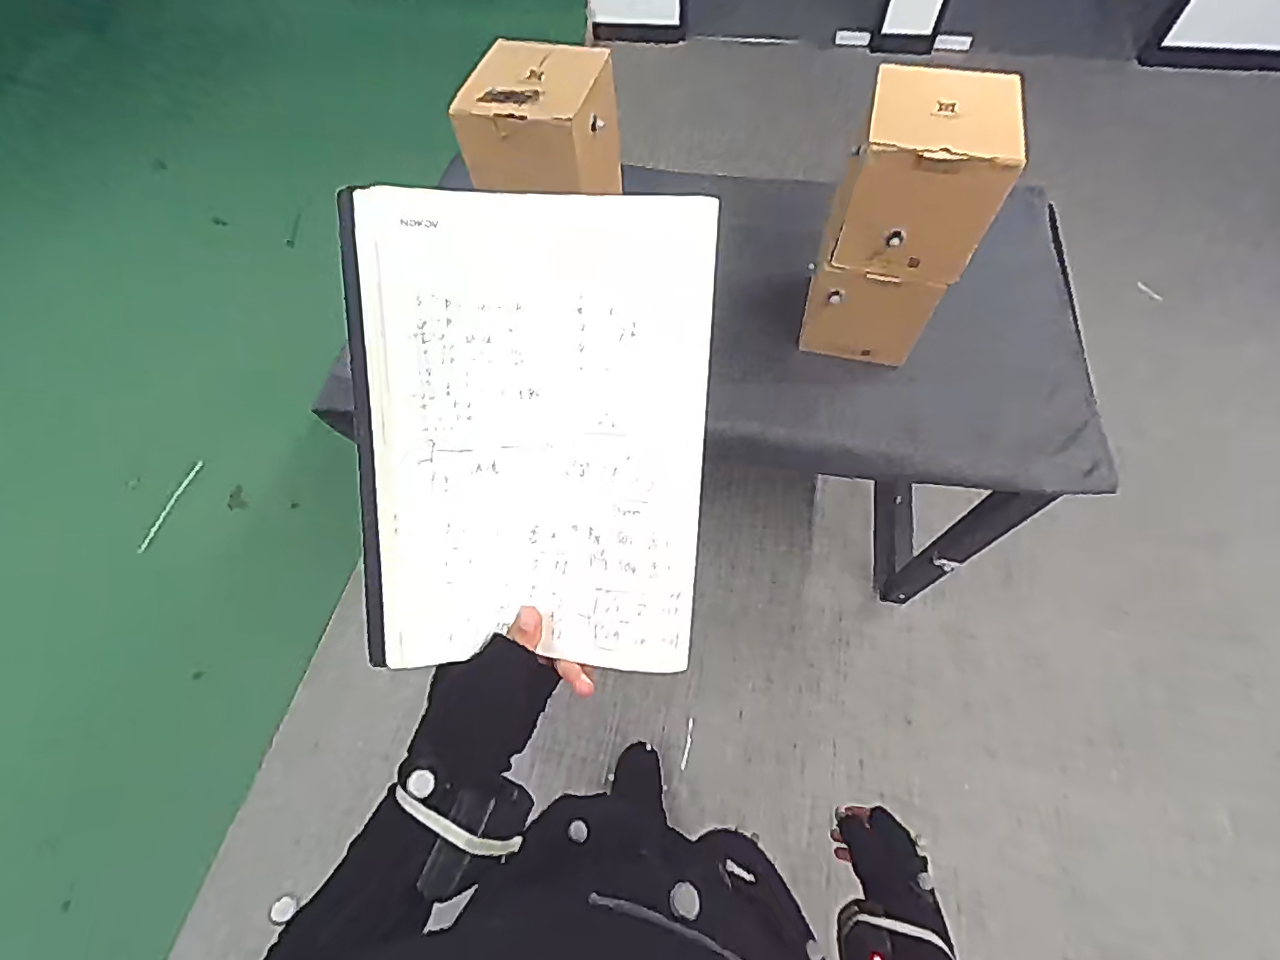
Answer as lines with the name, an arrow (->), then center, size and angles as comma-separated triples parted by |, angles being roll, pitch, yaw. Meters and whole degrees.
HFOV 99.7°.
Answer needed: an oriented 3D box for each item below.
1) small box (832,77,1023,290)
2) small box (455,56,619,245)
small box -> 0.360, -0.382, 0.705 | 0.168, 0.176, 0.179 | 12, 63, 10
small box -> -0.131, -0.465, 0.775 | 0.168, 0.176, 0.179 | 11, 62, 9
